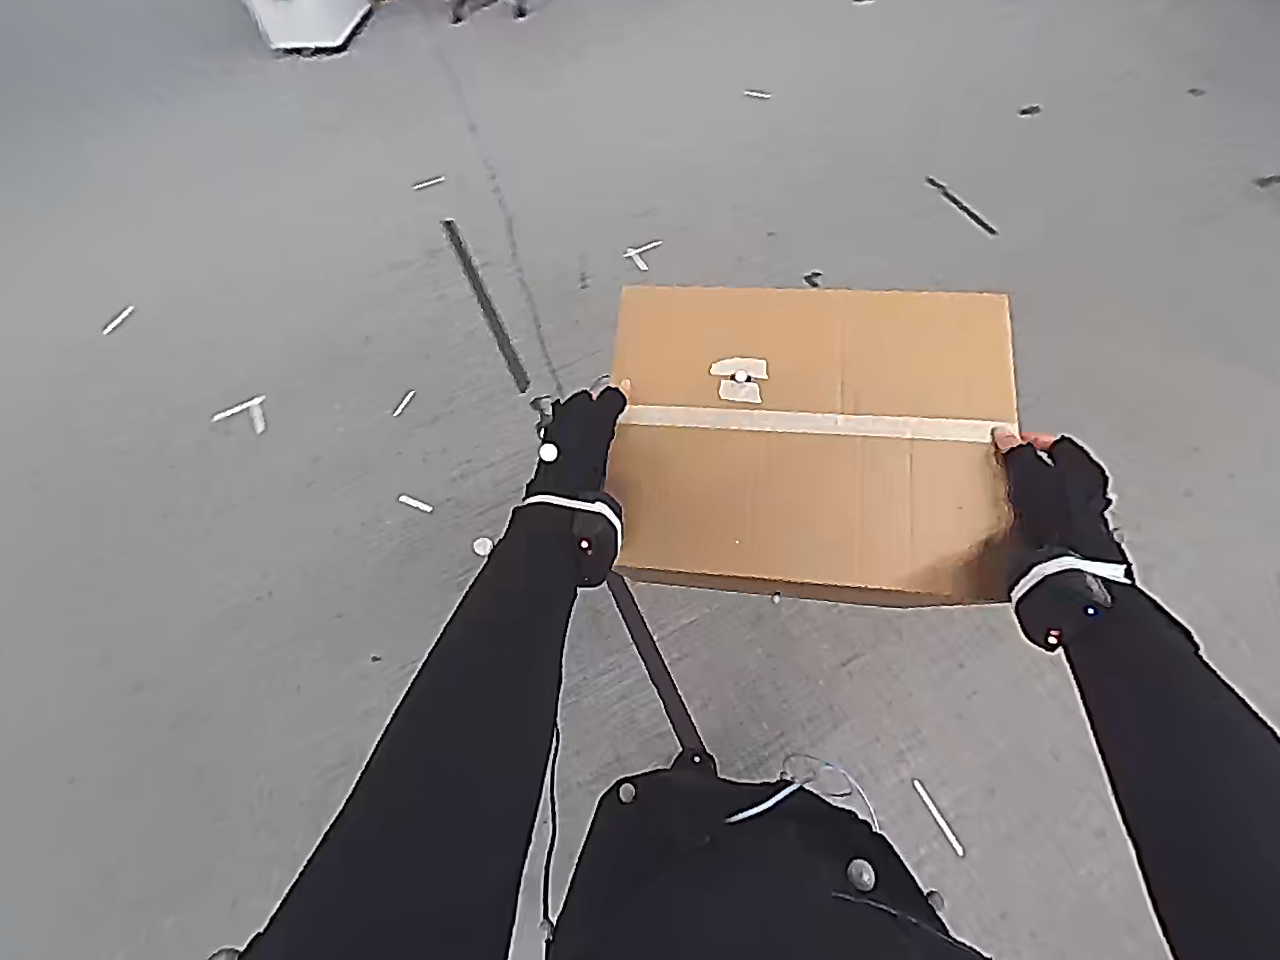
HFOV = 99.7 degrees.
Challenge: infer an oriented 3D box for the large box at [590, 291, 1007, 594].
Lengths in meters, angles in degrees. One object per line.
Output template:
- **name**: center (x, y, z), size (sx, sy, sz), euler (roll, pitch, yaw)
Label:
- **large box**: center (0.176, -0.023, 0.703), size (0.408, 0.320, 0.320), euler (3, 75, 9)
